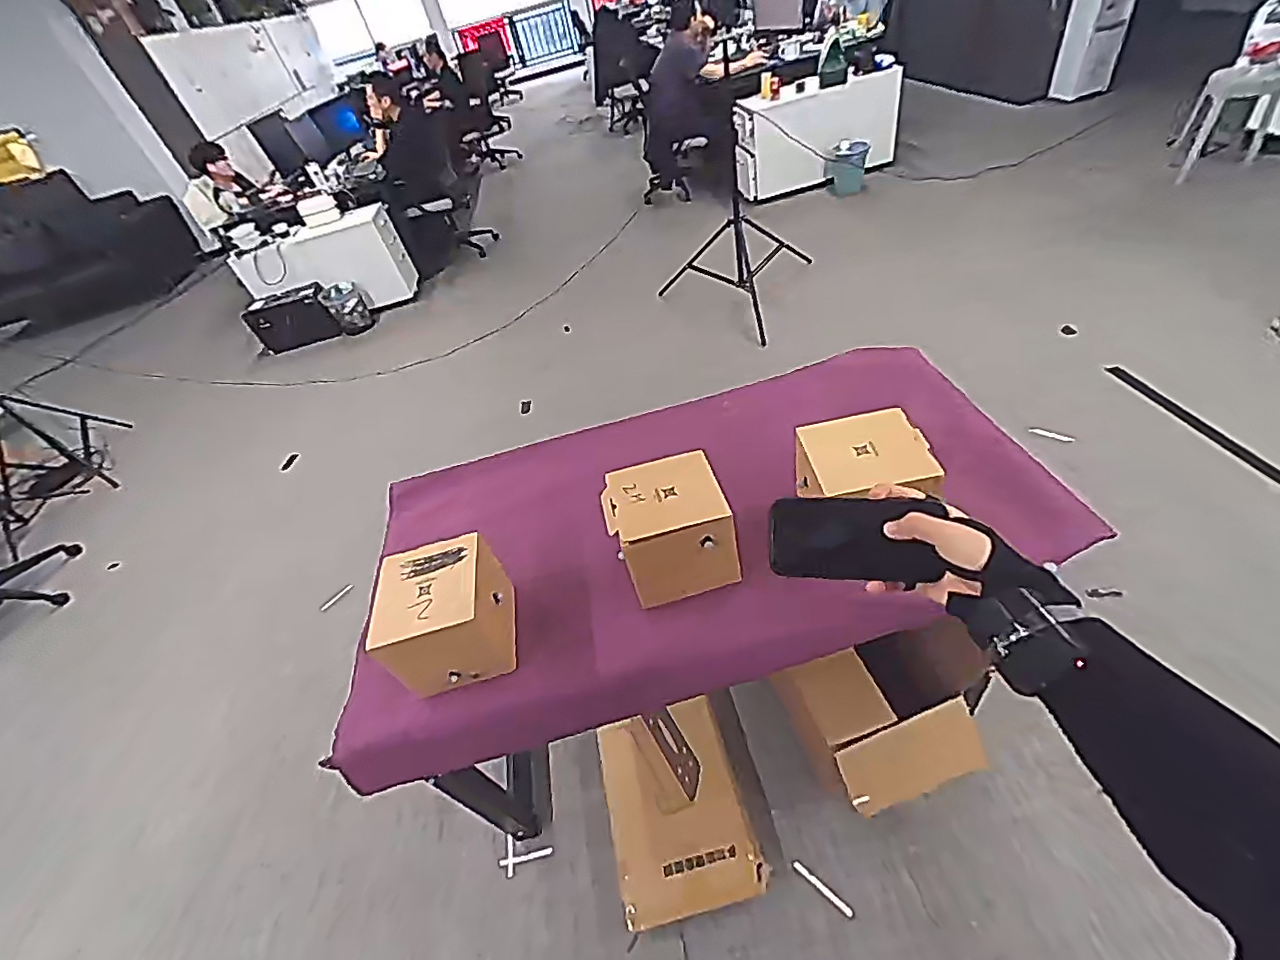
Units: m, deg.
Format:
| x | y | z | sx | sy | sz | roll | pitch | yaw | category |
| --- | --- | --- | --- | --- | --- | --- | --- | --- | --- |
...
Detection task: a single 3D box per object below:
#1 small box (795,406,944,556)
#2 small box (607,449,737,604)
| x | y | z | sx | sy | sz | roll | pitch | yaw | category |
| --- | --- | --- | --- | --- | --- | --- | --- | --- | --- |
| 0.367 | 0.006 | 0.896 | 0.179 | 0.176 | 0.168 | -12 | 44 | 5 | small box |
| 0.058 | 0.080 | 0.911 | 0.179 | 0.176 | 0.168 | -17 | 41 | 0 | small box |
